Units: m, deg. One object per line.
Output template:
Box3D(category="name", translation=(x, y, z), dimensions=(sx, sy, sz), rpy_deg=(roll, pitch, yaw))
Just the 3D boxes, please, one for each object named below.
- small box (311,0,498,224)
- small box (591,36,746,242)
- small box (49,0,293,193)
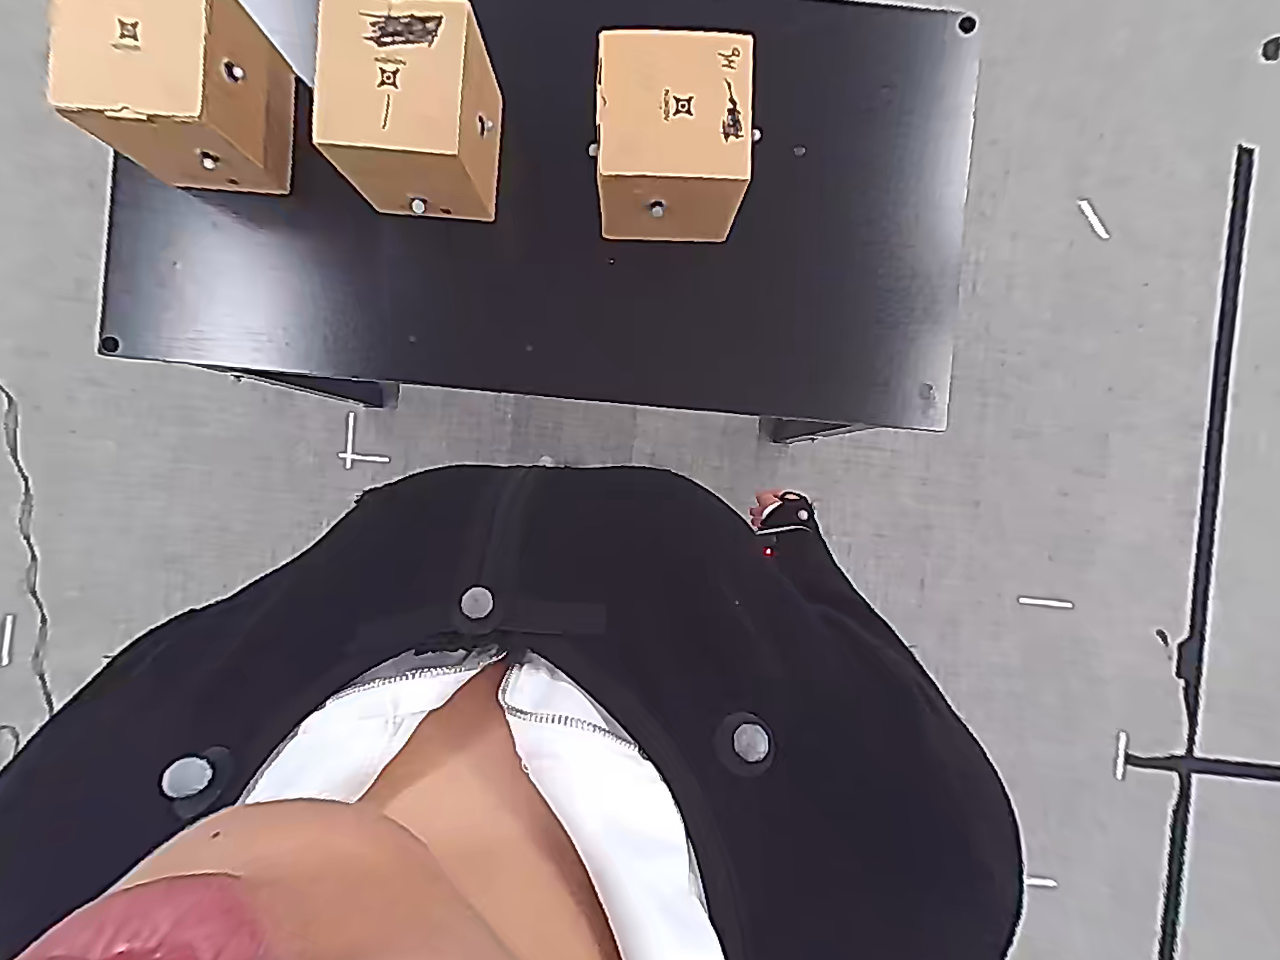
Box3D(category="small box", translation=(-0.283, -0.456, 0.687), dimensions=(0.168, 0.176, 0.179), rpy_deg=(4, 91, -2))
Box3D(category="small box", translation=(0.033, -0.423, 0.697), dimensions=(0.179, 0.176, 0.168), rpy_deg=(1, 91, -1))
Box3D(category="small box", translation=(-0.569, -0.490, 0.680), dimensions=(0.168, 0.176, 0.179), rpy_deg=(3, 90, -3))
